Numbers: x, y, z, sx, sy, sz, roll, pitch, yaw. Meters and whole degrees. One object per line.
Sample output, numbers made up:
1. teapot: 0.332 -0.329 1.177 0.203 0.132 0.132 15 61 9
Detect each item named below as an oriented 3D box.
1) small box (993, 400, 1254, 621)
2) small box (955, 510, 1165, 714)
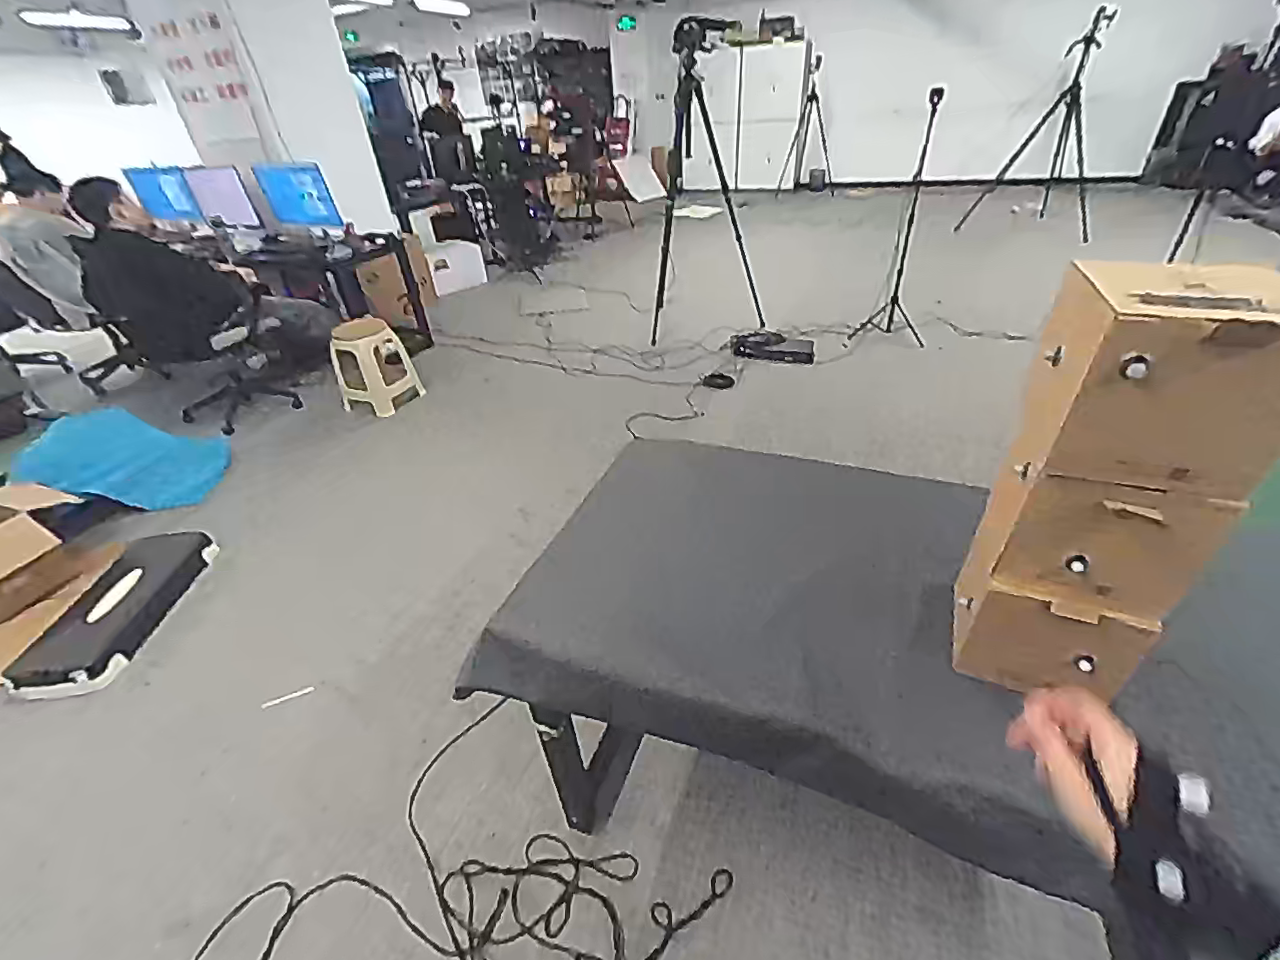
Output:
1. small box: 0.533 0.030 0.633 0.168 0.176 0.179 14 40 23
2. small box: 0.533 0.171 0.716 0.168 0.176 0.179 13 38 22
